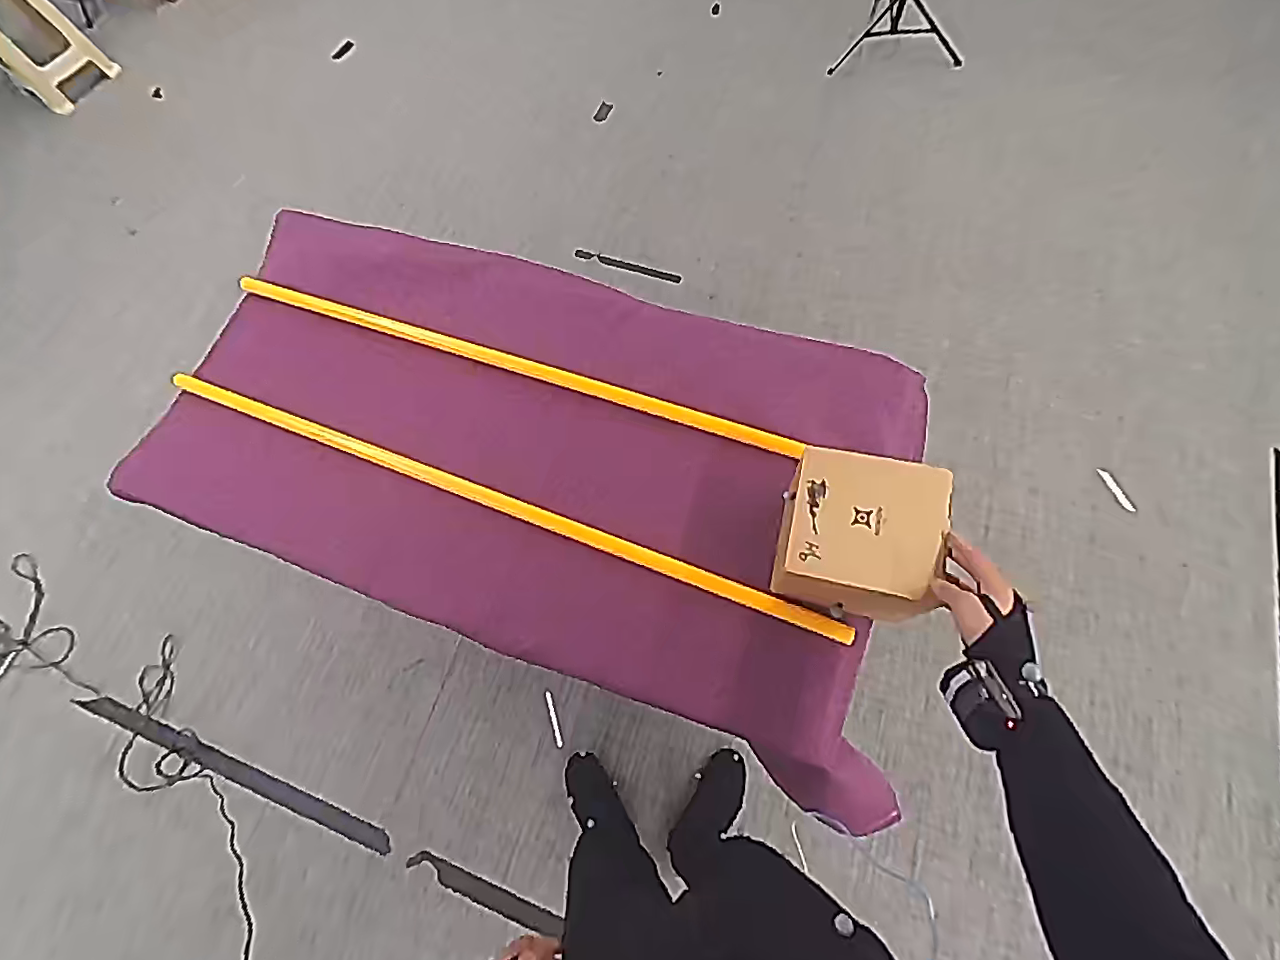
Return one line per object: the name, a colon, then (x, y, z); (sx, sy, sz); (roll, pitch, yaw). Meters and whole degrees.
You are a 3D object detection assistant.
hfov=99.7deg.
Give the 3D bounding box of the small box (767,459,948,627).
small box: (0.276, 0.091, 0.717); (0.179, 0.176, 0.168); (12, 72, 12)
